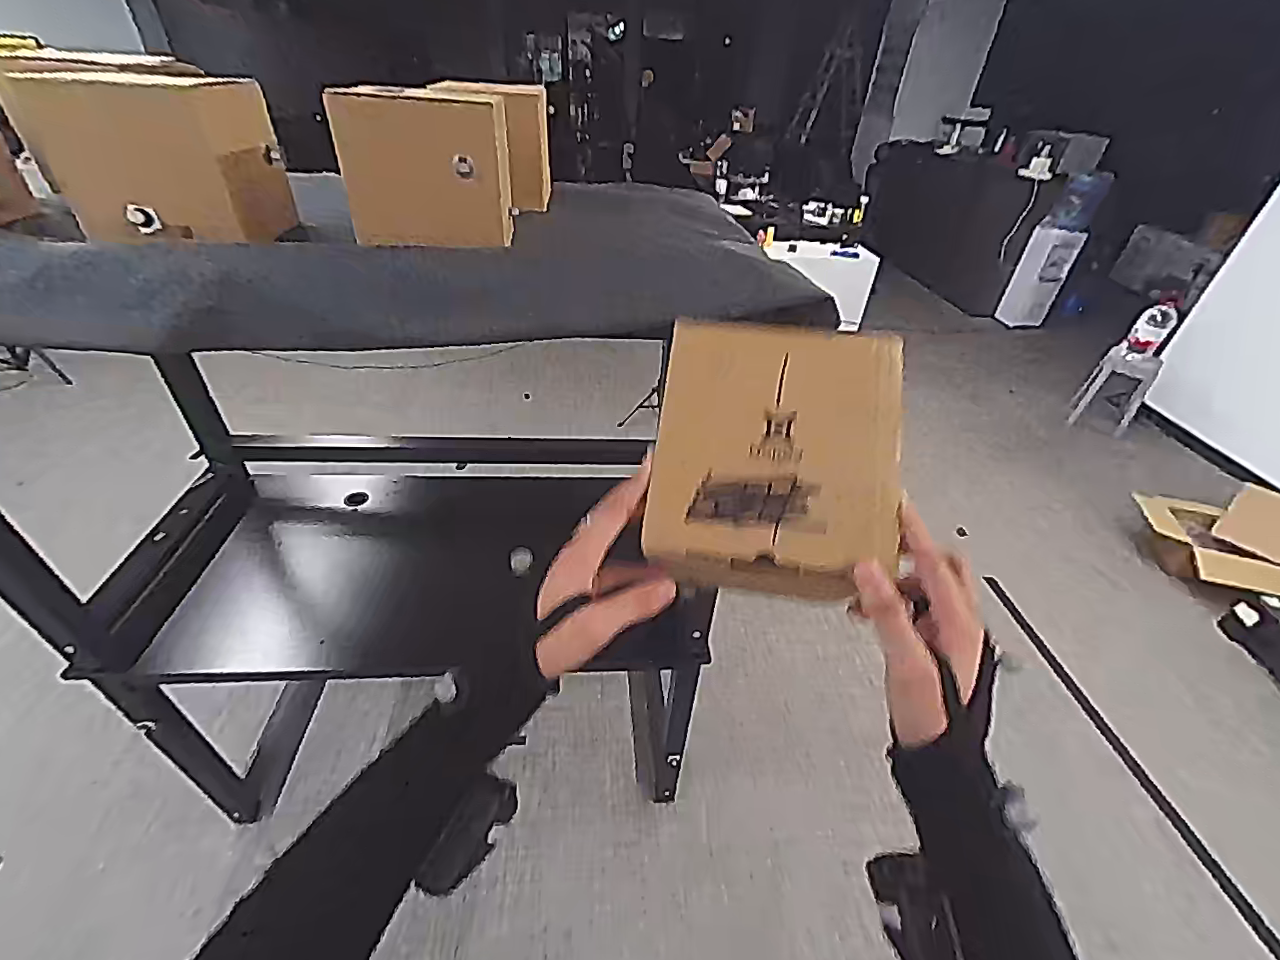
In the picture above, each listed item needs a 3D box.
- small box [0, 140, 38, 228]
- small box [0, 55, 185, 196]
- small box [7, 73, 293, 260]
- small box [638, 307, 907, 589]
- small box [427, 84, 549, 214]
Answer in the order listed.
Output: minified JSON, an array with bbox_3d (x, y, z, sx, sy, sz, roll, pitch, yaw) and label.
[{"bbox_3d":[-0.878,-0.372,0.610,0.179,0.176,0.168,-2,37,-9],"label":"small box"},{"bbox_3d":[-0.816,-0.548,0.845,0.179,0.176,0.168,-1,38,-8],"label":"small box"},{"bbox_3d":[-0.548,-0.373,0.645,0.168,0.176,0.179,-3,37,-8],"label":"small box"},{"bbox_3d":[0.100,-0.013,0.440,0.168,0.176,0.179,7,74,8],"label":"small box"},{"bbox_3d":[-0.242,-0.557,0.911,0.168,0.176,0.179,-1,38,-6],"label":"small box"}]
